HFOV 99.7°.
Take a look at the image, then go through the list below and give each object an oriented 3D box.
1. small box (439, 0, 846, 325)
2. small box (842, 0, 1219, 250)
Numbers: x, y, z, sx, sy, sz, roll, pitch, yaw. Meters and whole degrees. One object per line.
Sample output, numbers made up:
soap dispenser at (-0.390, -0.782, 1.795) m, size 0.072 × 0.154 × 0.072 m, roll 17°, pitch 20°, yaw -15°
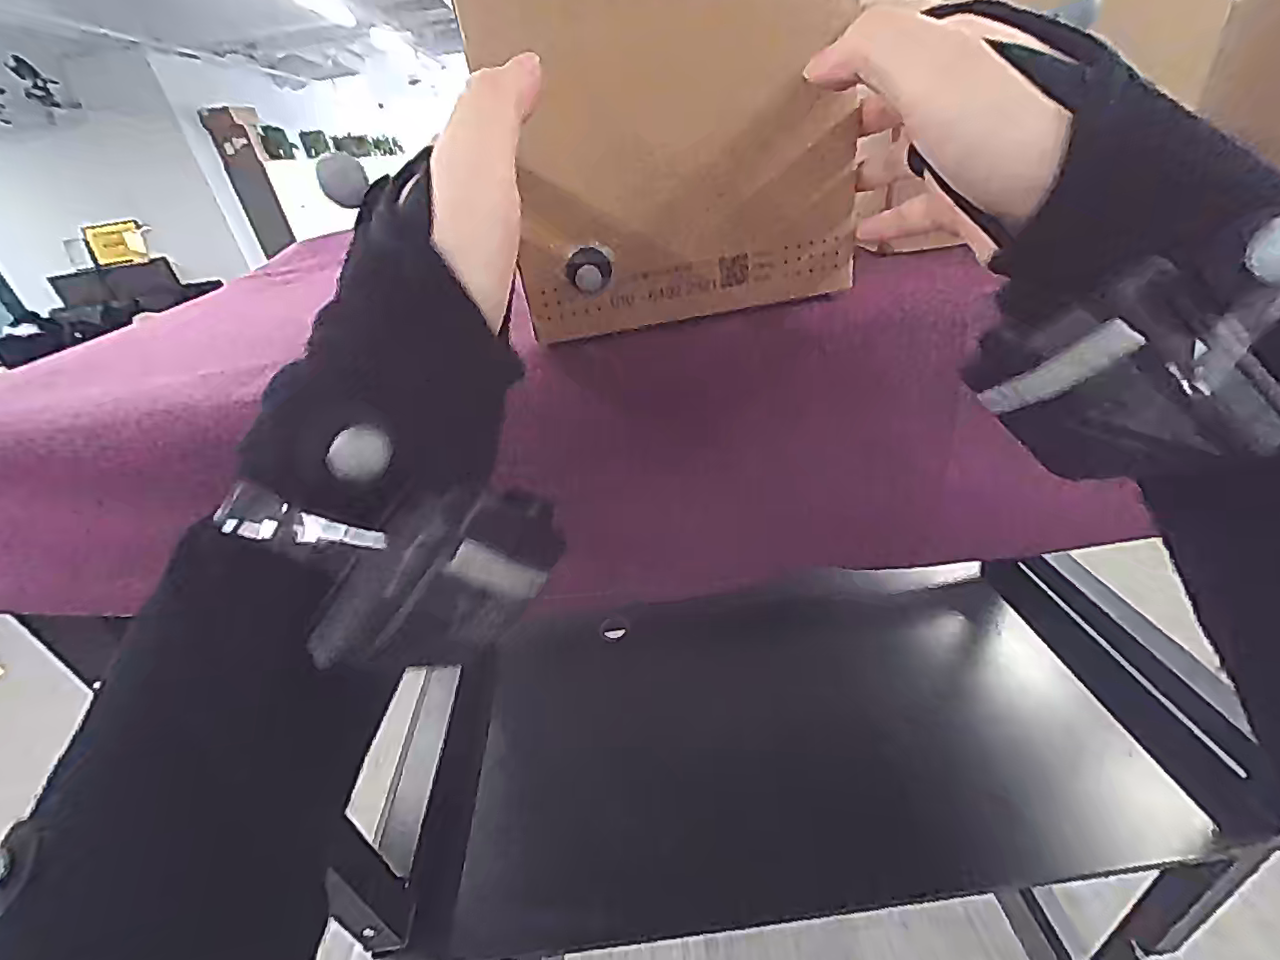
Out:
small box at (0.004, -0.193, 0.300) m, size 0.168 × 0.176 × 0.179 m, roll -10°, pitch 29°, yaw -1°
small box at (0.225, -0.266, 0.367) m, size 0.179 × 0.176 × 0.168 m, roll -6°, pitch 31°, yaw 3°
